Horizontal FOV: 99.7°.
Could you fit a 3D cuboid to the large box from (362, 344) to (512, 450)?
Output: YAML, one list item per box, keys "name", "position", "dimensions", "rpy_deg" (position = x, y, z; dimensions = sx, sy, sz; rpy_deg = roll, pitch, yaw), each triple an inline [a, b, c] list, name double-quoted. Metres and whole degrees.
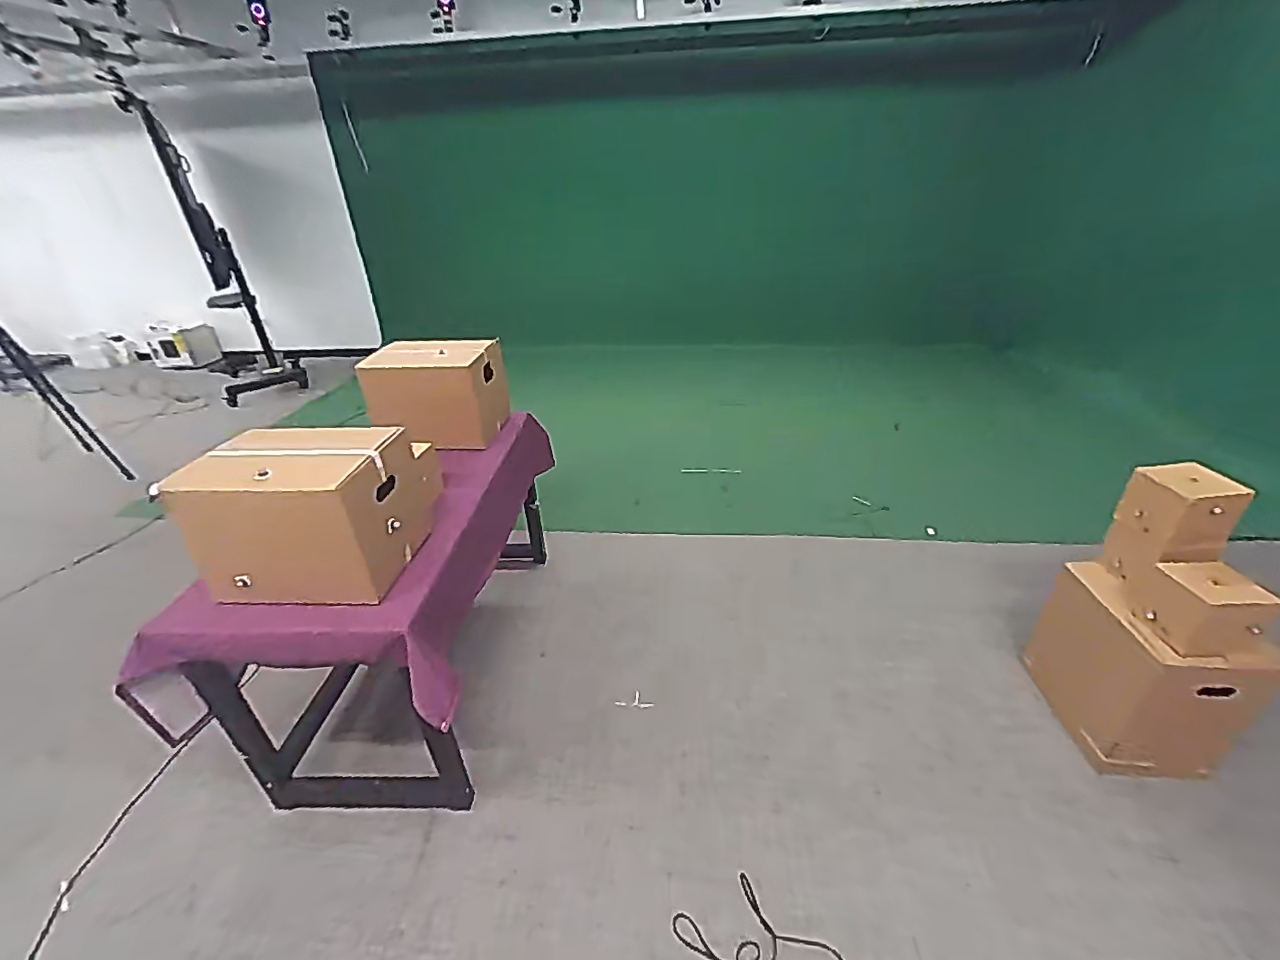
- name: "large box"
  position: [-0.727, -0.313, 2.000]
  dimensions: [0.408, 0.320, 0.320]
  rpy_deg: [2, 30, 5]

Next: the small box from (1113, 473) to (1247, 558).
- name: "small box"
  position: [1.479, 0.098, 1.497]
  dimensions: [0.179, 0.176, 0.168]
  rpy_deg: [-5, 30, -2]
